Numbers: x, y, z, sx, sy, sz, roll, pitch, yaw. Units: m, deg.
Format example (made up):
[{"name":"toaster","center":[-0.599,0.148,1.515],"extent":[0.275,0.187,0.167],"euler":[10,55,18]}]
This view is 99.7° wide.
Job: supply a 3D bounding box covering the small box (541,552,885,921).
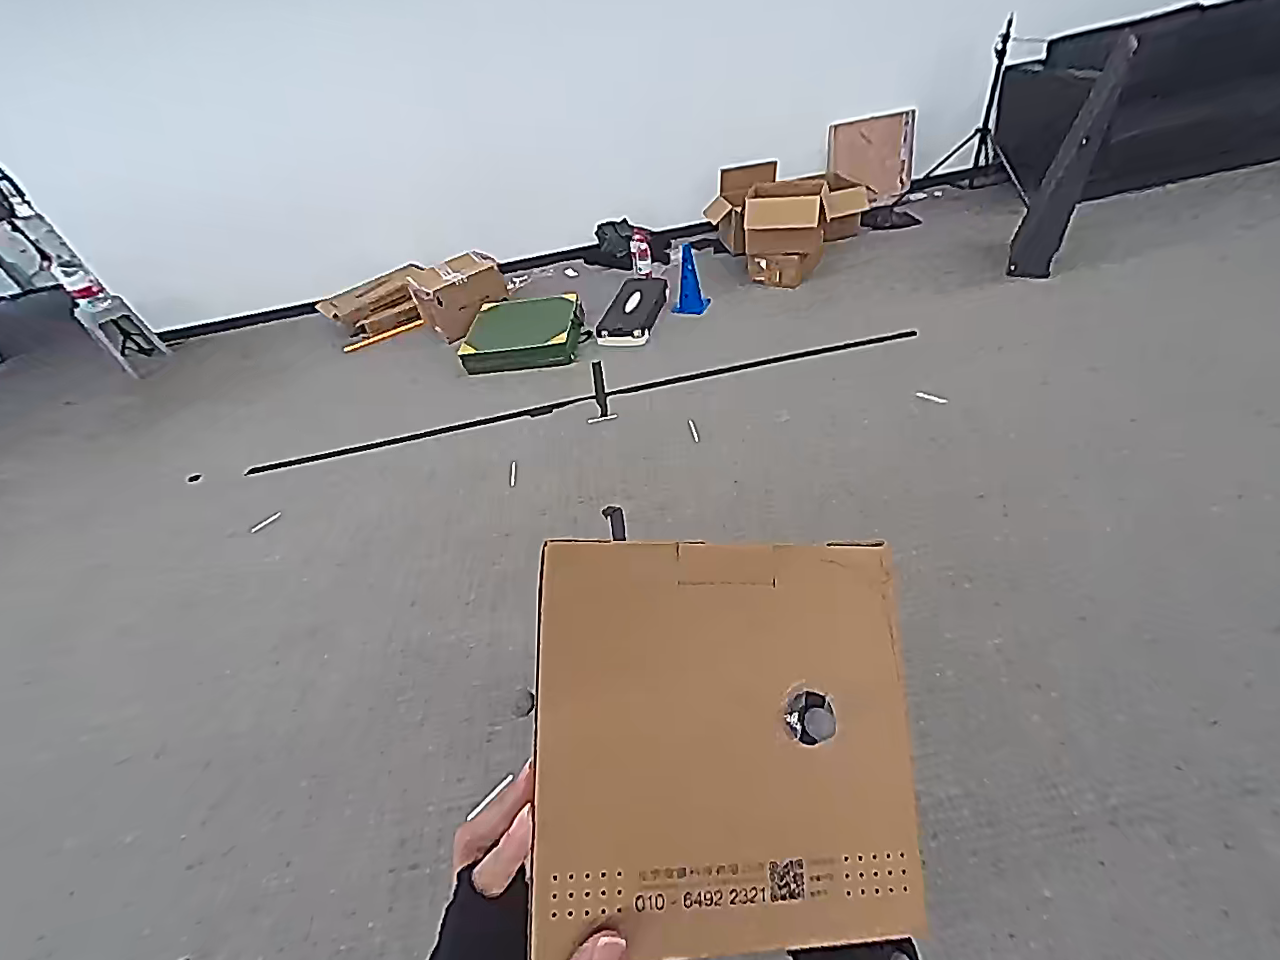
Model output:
[{"name":"small box","center":[0.028,0.134,0.333],"extent":[0.168,0.179,0.176],"euler":[1,79,-6]}]
